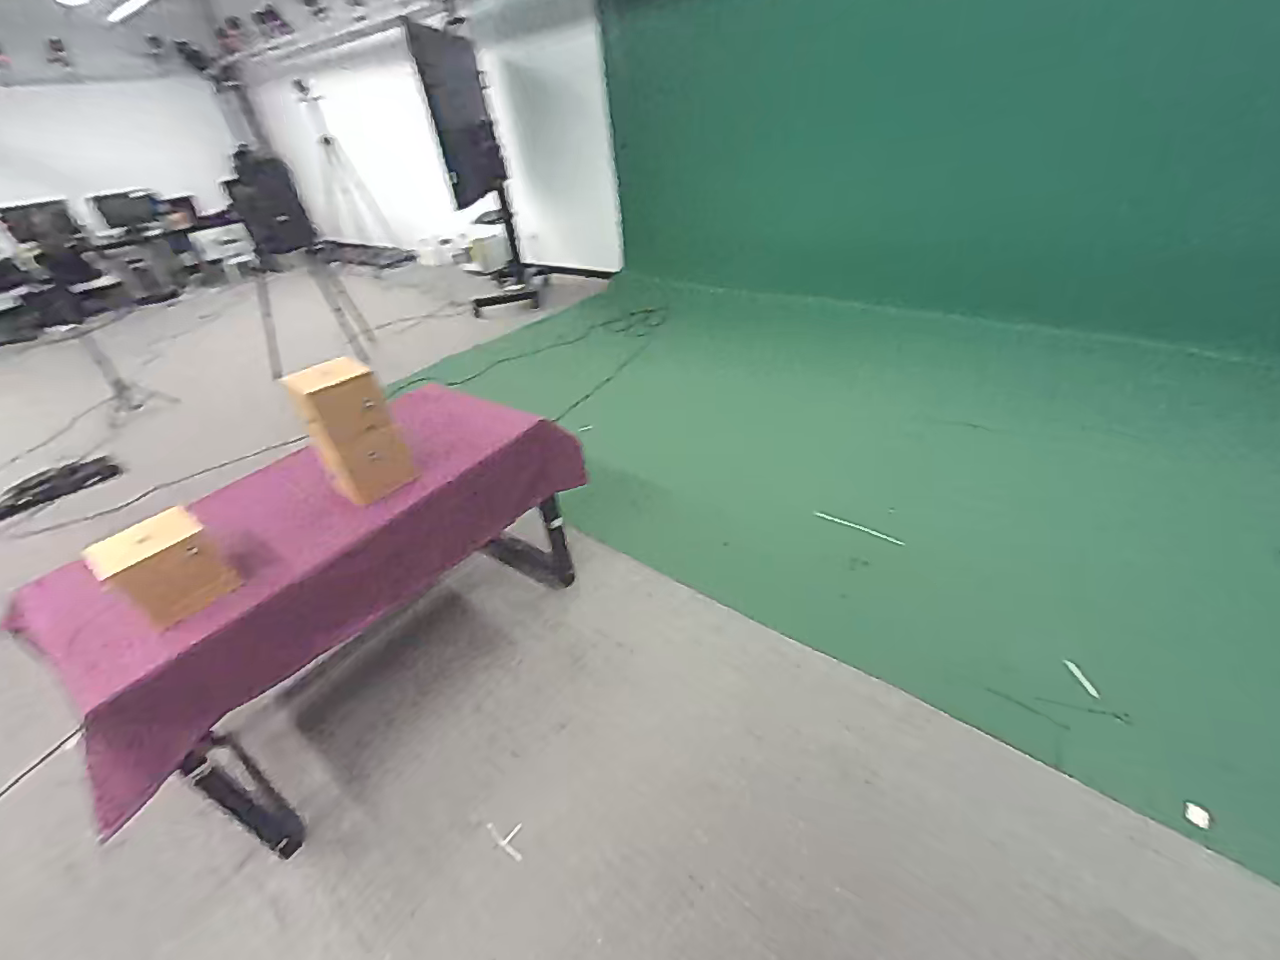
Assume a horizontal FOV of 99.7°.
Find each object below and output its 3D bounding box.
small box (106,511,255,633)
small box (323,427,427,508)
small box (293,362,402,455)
[{"bbox_3d":[-1.006,0.202,1.194,0.168,0.176,0.179,19,43,34],"label":"small box"},{"bbox_3d":[-0.723,-0.049,1.486,0.168,0.176,0.179,24,46,37],"label":"small box"},{"bbox_3d":[-0.749,-0.184,1.398,0.179,0.176,0.168,23,45,38],"label":"small box"}]
